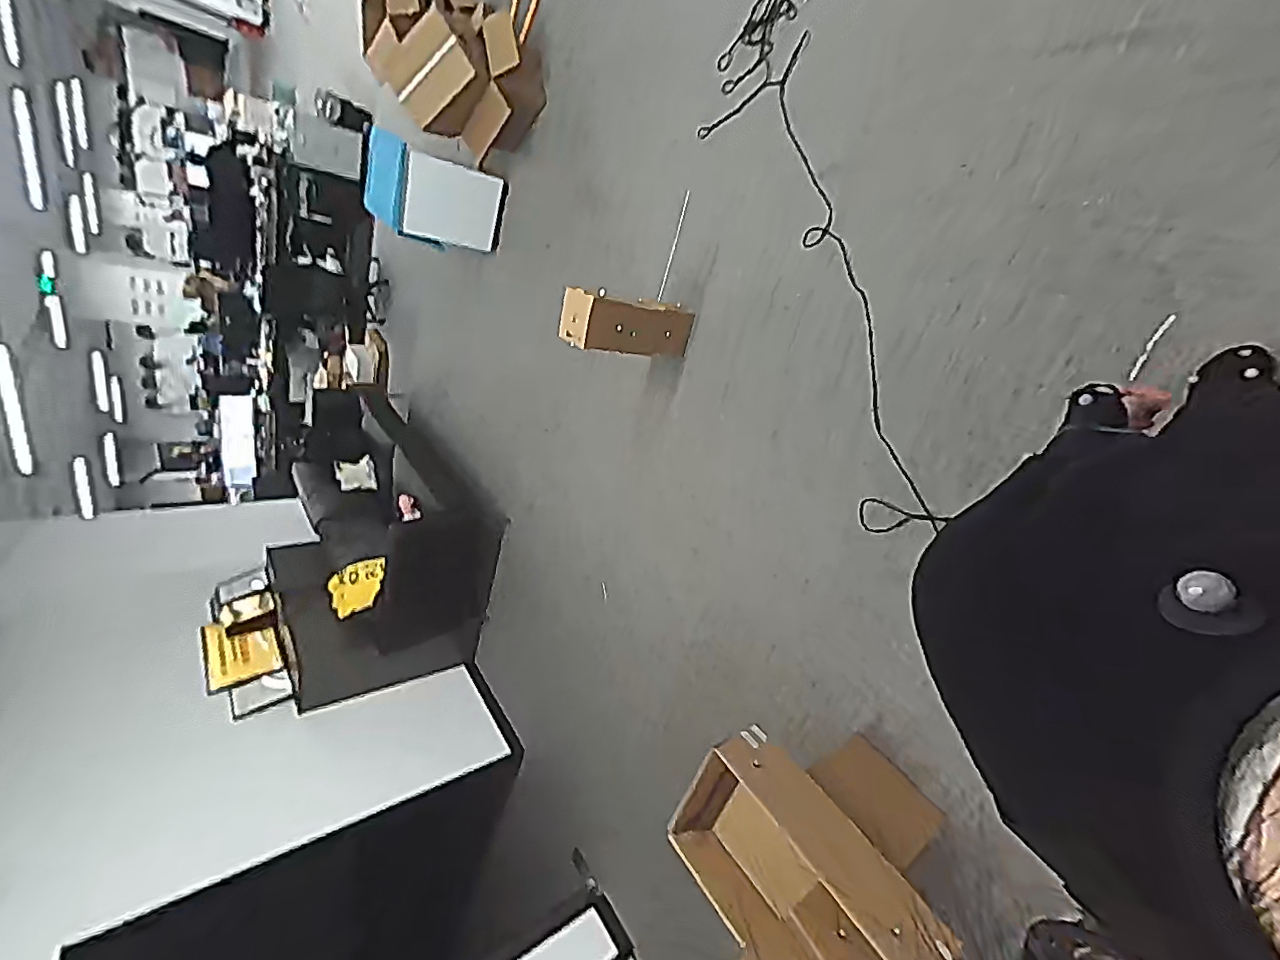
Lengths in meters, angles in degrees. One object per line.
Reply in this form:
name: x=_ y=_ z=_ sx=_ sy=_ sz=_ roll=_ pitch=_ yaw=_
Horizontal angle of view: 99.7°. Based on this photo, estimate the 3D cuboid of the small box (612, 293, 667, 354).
small box: x=-0.023 y=-0.579 z=2.014 sx=0.168 sy=0.176 sz=0.179 roll=39 pitch=122 yaw=40

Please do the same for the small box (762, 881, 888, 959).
small box: x=0.419 y=1.062 z=1.230 sx=0.179 sy=0.176 sz=0.168 roll=44 pitch=125 yaw=39

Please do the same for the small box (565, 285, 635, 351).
small box: x=-0.137 y=-0.565 z=1.897 sx=0.168 sy=0.176 sz=0.179 roll=37 pitch=120 yaw=42

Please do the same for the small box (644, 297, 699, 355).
small box: x=0.106 y=-0.598 z=2.115 sx=0.168 sy=0.176 sz=0.179 roll=39 pitch=122 yaw=41
